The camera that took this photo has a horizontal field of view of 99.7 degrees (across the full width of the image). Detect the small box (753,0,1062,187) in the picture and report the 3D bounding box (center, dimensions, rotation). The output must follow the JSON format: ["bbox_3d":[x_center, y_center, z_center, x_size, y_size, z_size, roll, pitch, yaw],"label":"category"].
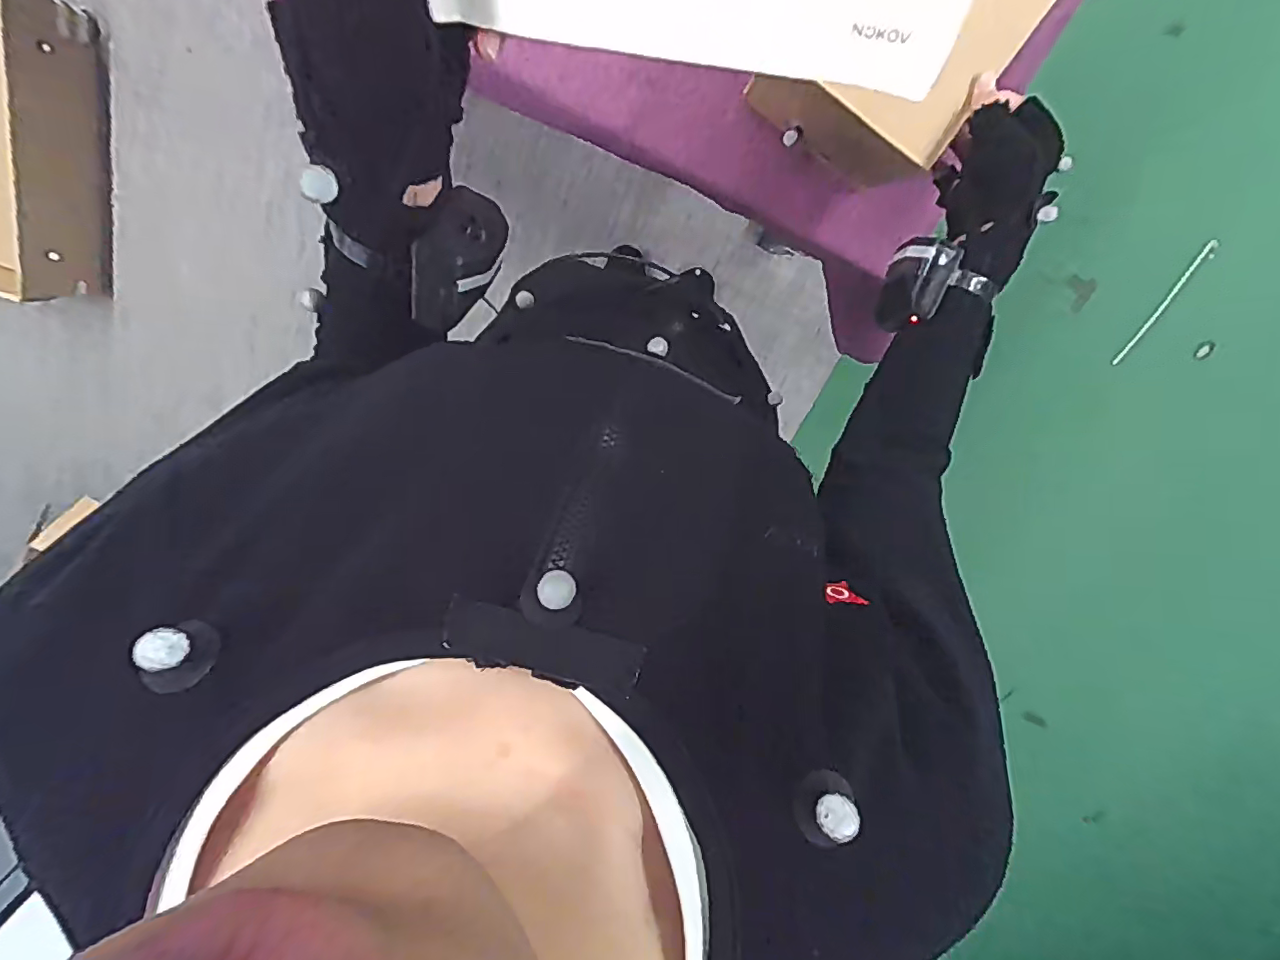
[{"bbox_3d":[0.218,-0.390,0.474,0.168,0.176,0.179,31,111,-11],"label":"small box"}]
